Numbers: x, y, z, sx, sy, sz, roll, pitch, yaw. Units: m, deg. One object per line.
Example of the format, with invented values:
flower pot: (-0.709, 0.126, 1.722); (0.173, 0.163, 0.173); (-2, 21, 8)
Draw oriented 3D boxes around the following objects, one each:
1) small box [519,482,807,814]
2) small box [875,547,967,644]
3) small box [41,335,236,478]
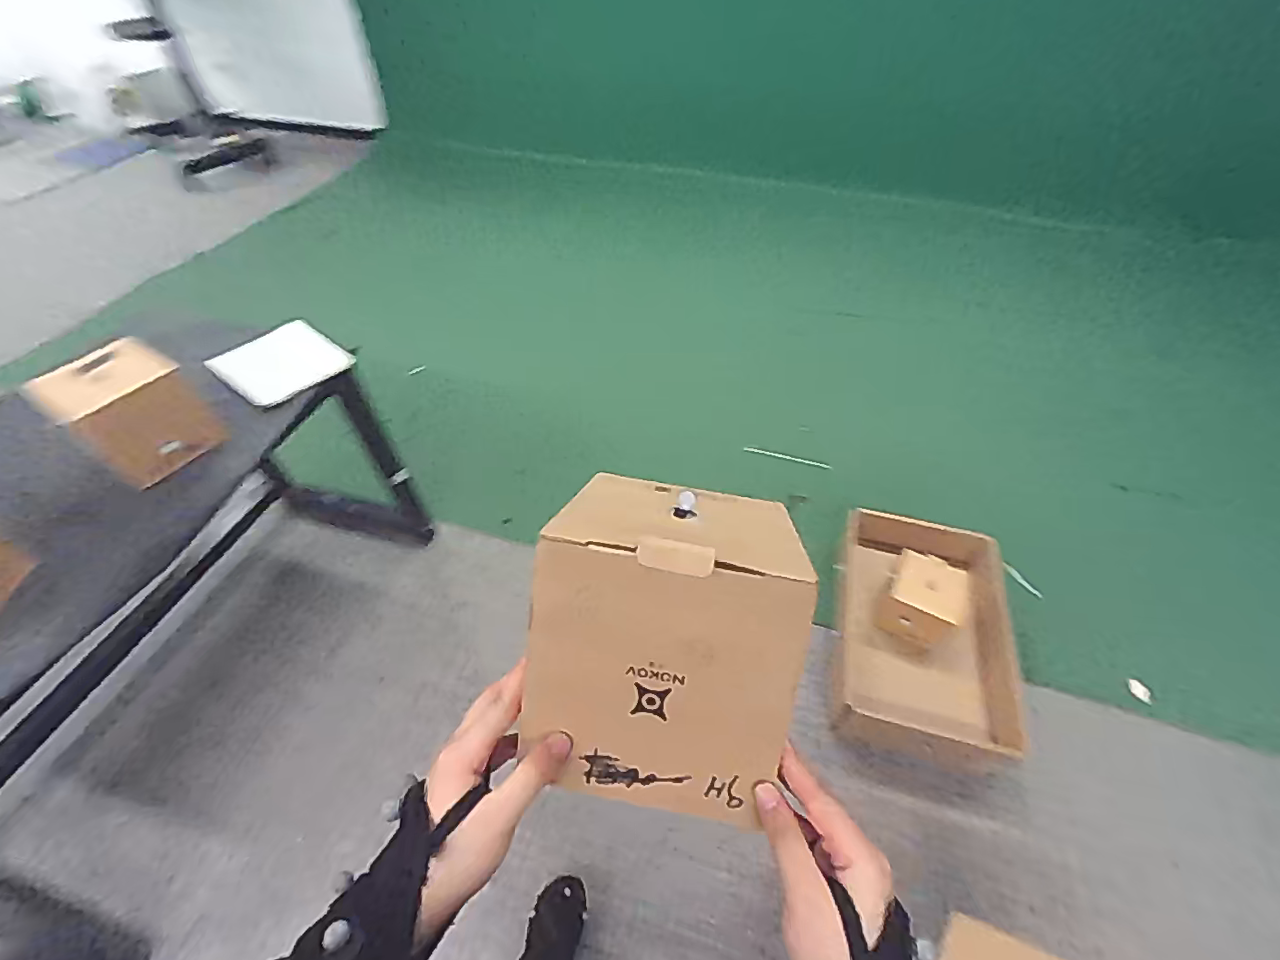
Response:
small box: (0.016, 0.109, 0.421); (0.168, 0.179, 0.176); (9, 15, 4)
small box: (0.774, 0.325, 1.503); (0.168, 0.176, 0.179); (24, 55, 18)
small box: (-0.908, -0.132, 0.995); (0.179, 0.176, 0.168); (27, 56, 21)
